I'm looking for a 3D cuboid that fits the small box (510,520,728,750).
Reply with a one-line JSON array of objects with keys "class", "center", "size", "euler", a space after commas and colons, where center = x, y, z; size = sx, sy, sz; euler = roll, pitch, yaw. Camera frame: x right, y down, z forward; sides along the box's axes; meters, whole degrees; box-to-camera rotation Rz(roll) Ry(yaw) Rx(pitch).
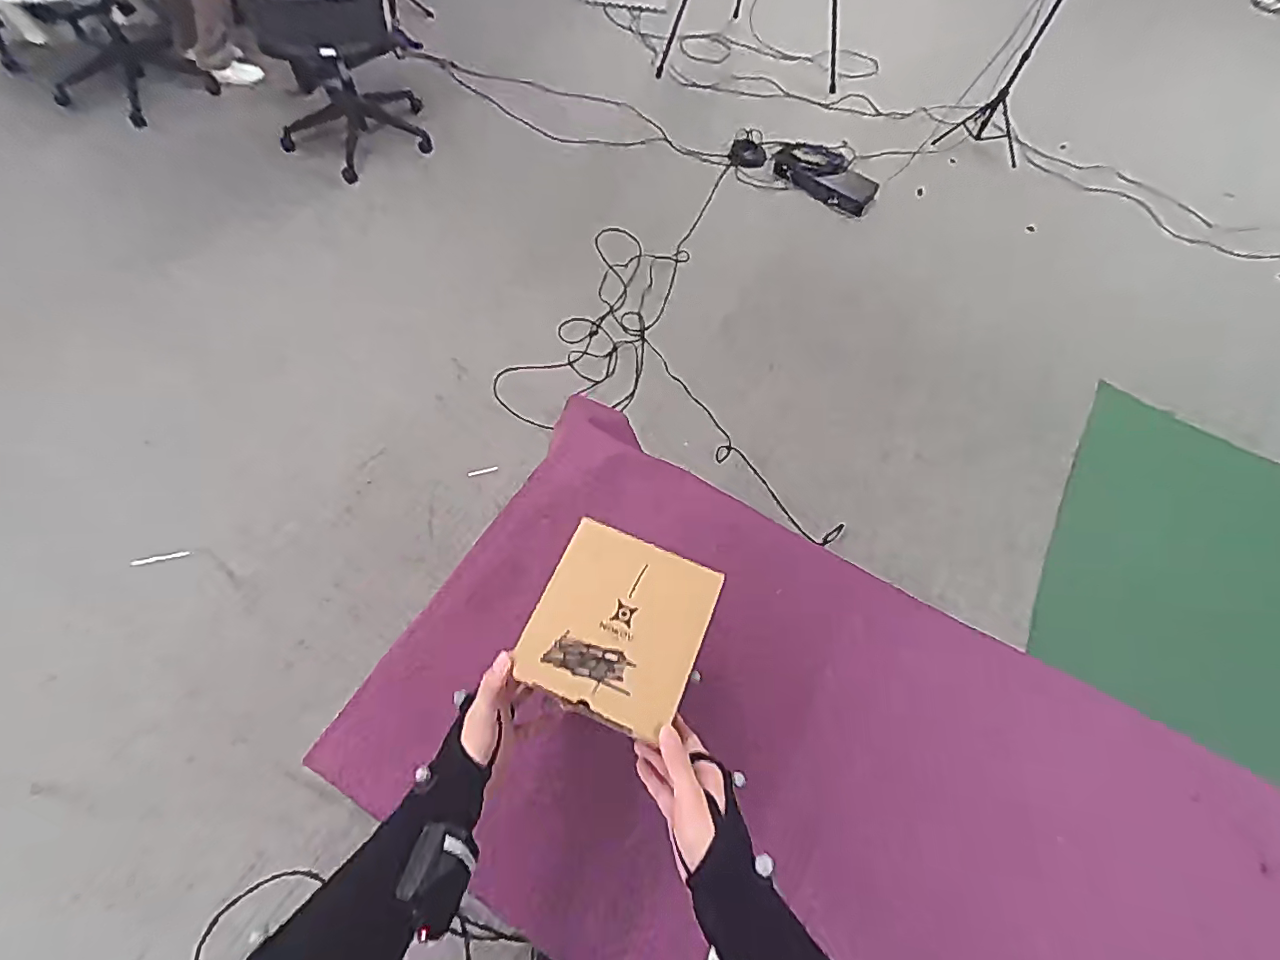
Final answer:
[{"class": "small box", "center": [-0.019, 0.177, 0.605], "size": [0.168, 0.176, 0.179], "euler": [23, 66, 7]}]
